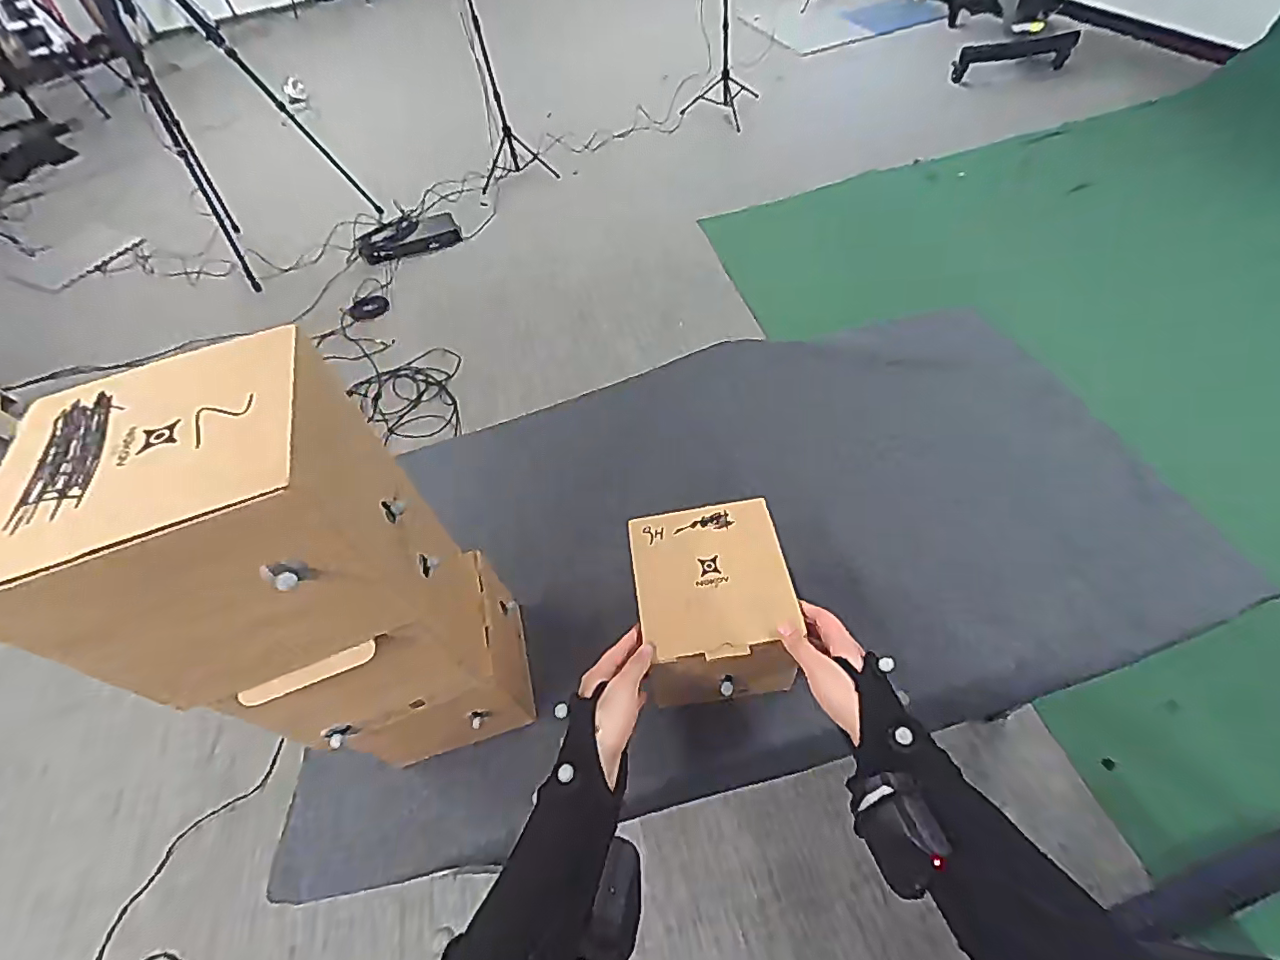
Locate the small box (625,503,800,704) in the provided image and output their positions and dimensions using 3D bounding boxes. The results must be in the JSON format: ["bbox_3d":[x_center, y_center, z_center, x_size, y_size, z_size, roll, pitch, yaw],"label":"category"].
[{"bbox_3d":[0.082,0.156,0.646,0.168,0.176,0.179,-10,53,2],"label":"small box"}]

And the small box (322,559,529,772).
[{"bbox_3d":[-0.243,0.226,0.650,0.179,0.176,0.168,-19,51,-4],"label":"small box"}]

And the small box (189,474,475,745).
[{"bbox_3d":[-0.274,0.131,0.519,0.168,0.176,0.179,-21,51,-7],"label":"small box"}]
